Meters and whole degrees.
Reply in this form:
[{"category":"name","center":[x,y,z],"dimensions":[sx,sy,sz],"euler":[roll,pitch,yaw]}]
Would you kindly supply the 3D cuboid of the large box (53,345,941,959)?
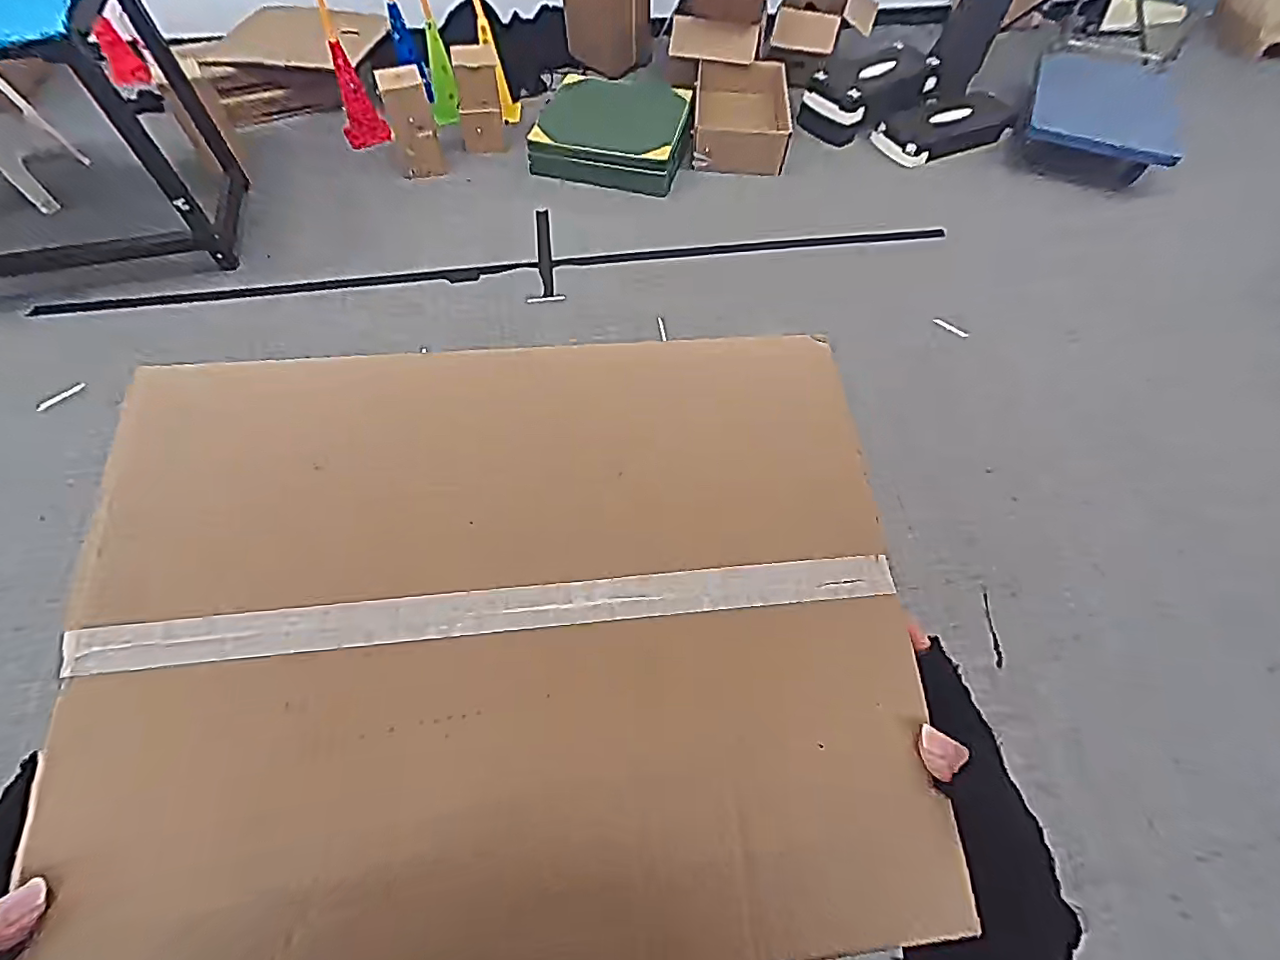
[{"category":"large box","center":[-0.076,0.120,0.430],"dimensions":[0.408,0.320,0.320],"euler":[-4,71,-5]}]
